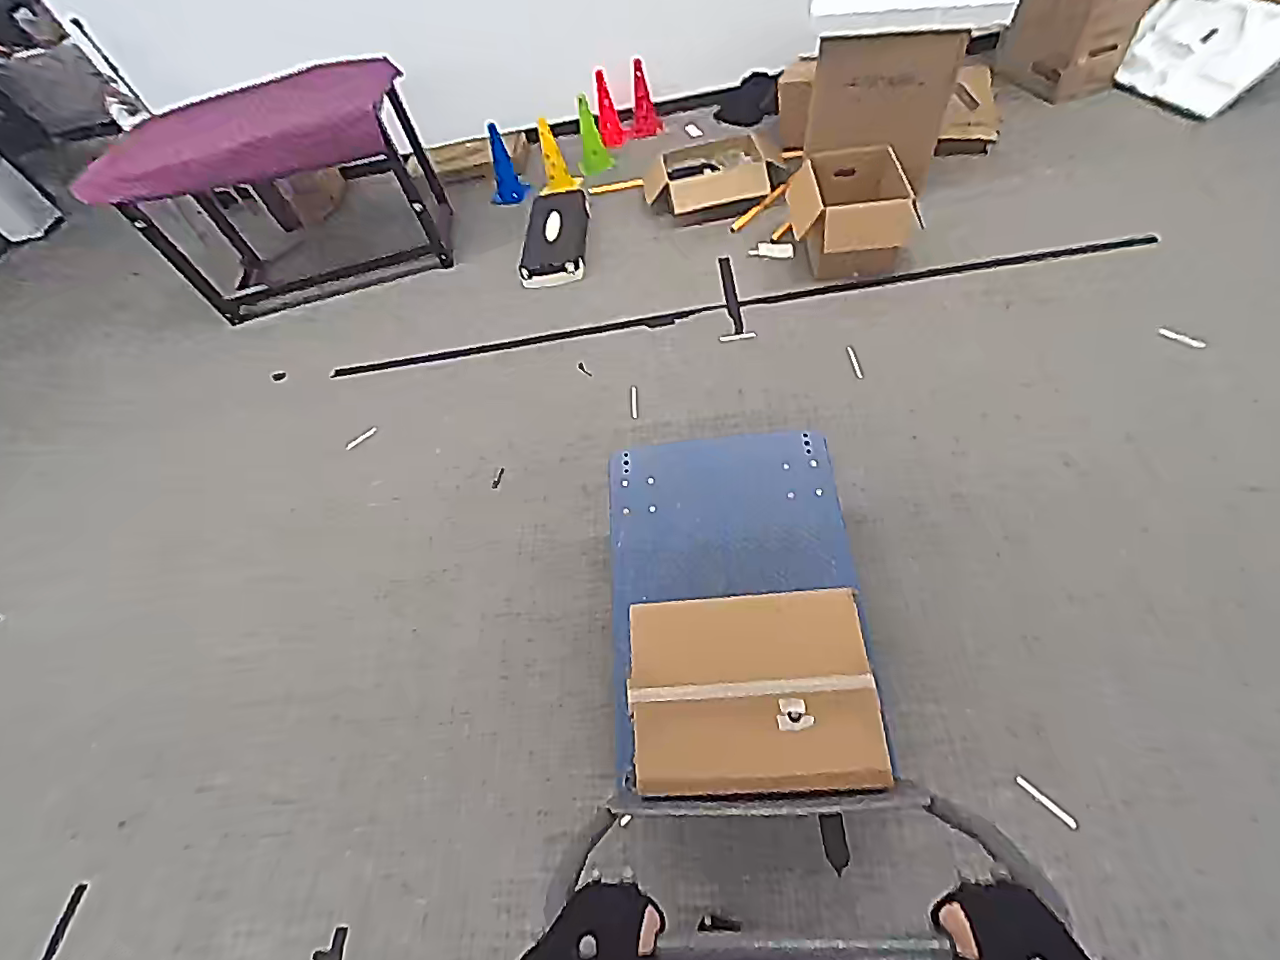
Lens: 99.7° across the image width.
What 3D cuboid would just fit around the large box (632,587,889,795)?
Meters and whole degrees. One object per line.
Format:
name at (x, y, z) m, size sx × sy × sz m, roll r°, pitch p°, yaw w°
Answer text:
large box at (0.209, 0.419, 1.070) m, size 0.408 × 0.320 × 0.320 m, roll -6°, pitch 65°, yaw 5°
